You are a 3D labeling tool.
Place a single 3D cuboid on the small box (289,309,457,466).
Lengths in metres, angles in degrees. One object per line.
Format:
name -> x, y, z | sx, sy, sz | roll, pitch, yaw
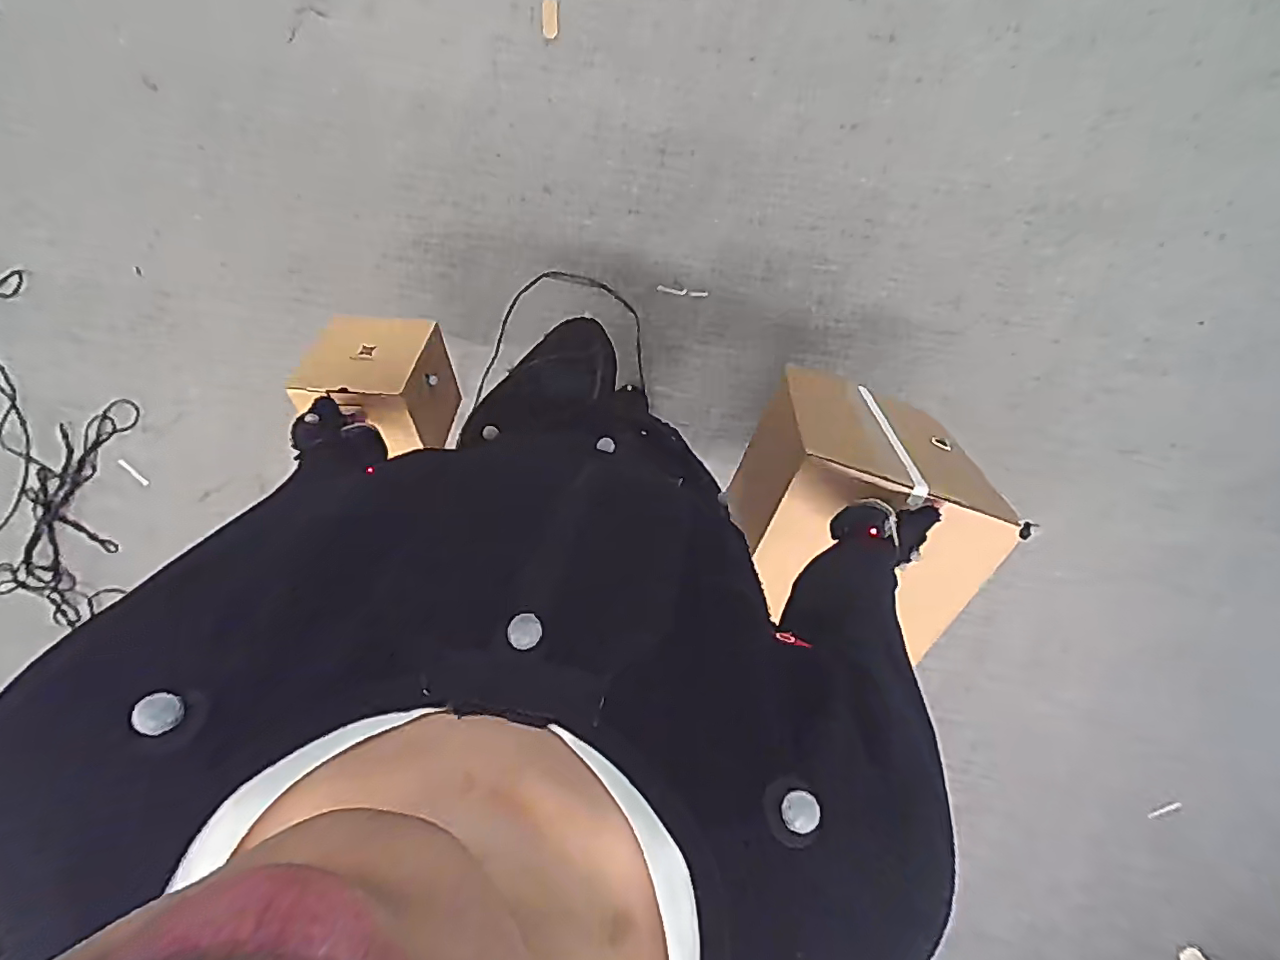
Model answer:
small box -> -0.405, -0.145, 0.861 | 0.168, 0.179, 0.176 | 4, 144, 1
